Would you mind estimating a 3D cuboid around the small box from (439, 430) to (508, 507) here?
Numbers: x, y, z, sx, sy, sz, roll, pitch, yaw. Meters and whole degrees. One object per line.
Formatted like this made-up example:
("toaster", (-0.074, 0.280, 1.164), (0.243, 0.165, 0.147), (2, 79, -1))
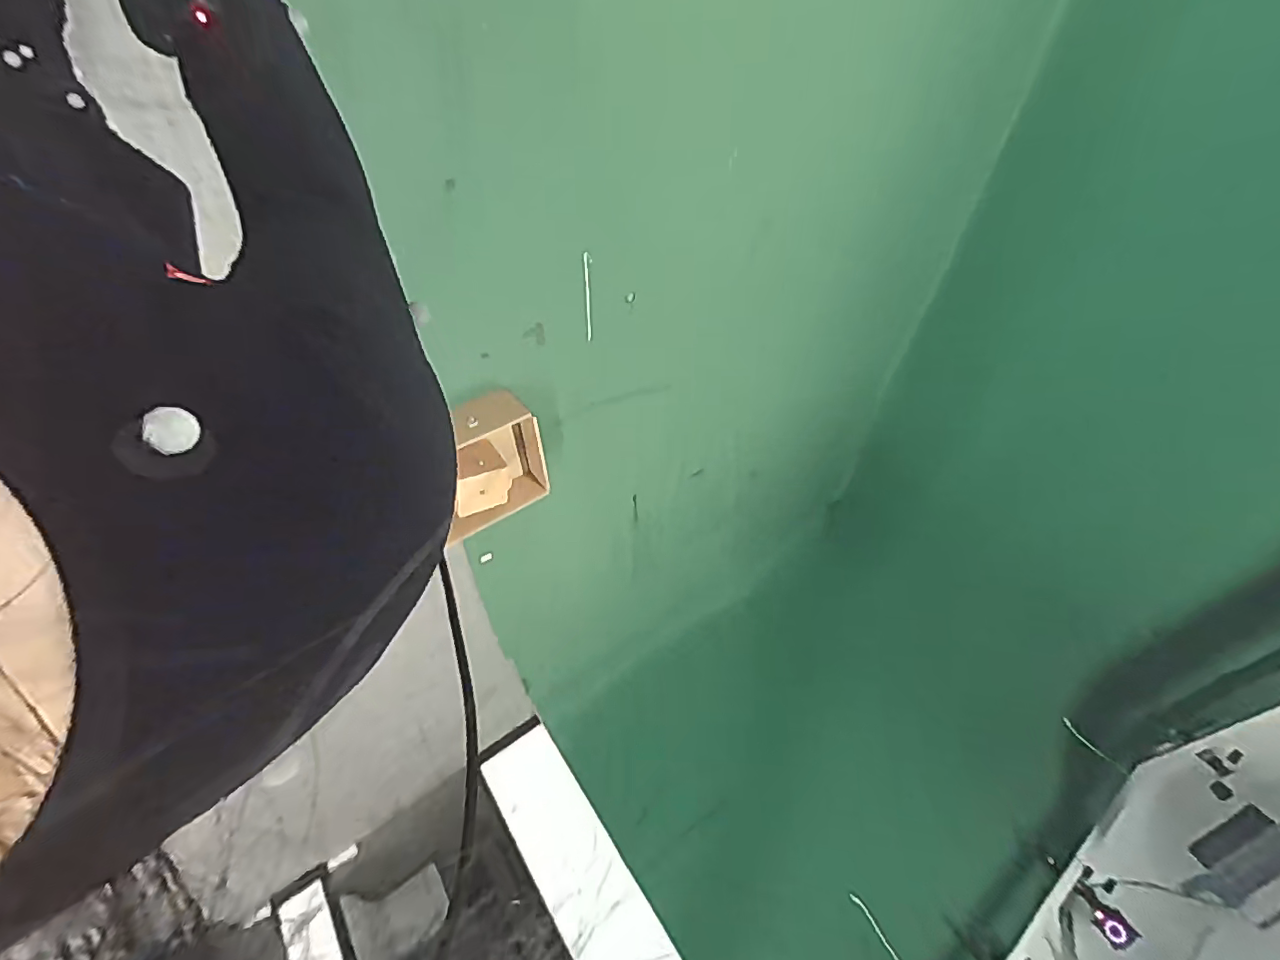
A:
("small box", (-0.560, -0.043, 1.807), (0.179, 0.176, 0.168), (-19, 142, -32))
